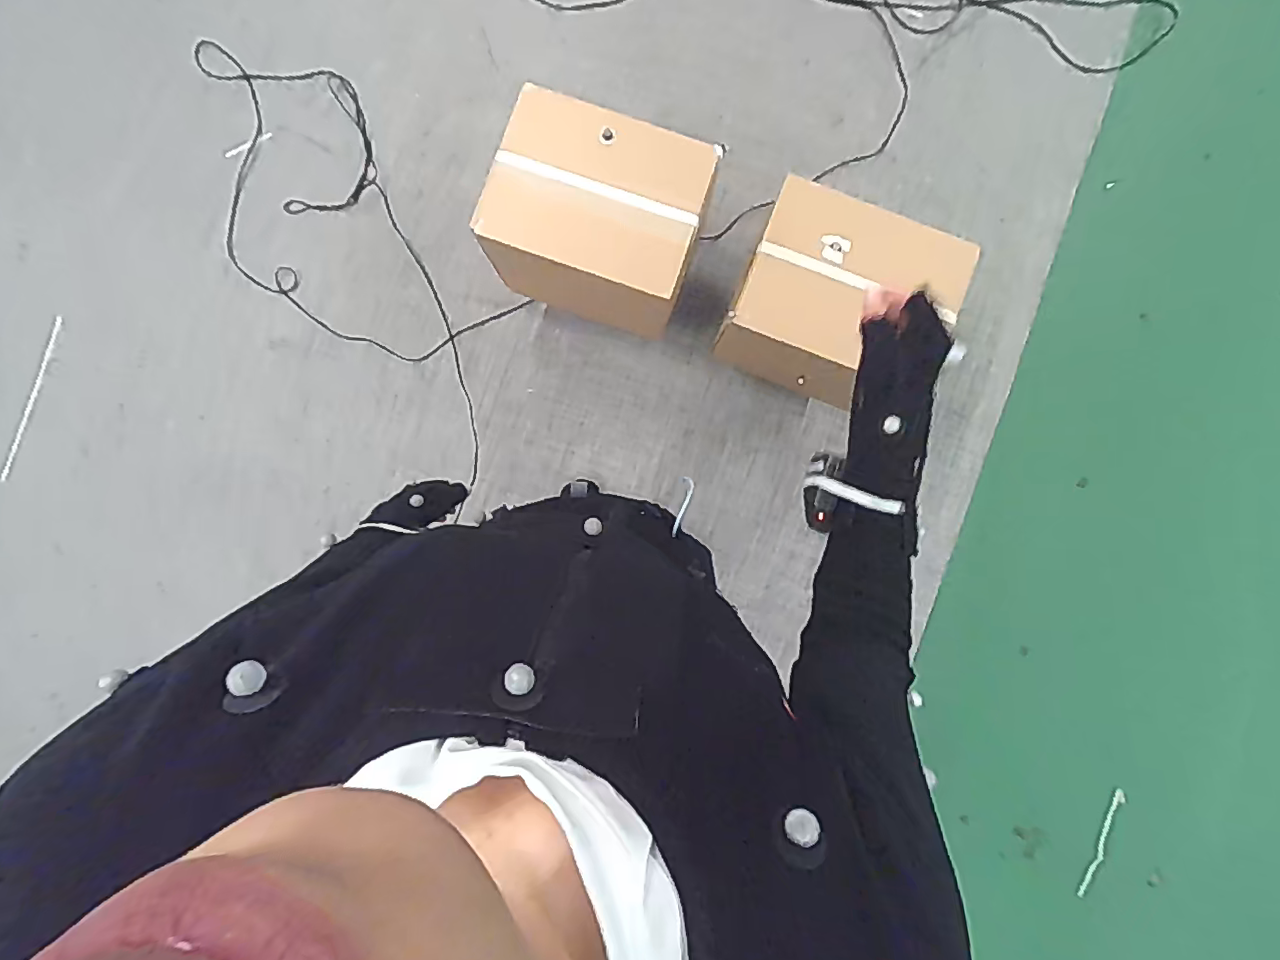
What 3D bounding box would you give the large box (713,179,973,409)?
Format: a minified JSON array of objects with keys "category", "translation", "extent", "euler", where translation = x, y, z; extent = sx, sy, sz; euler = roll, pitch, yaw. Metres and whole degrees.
[{"category":"large box","translation":[0.417,-0.380,1.204],"extent":[0.408,0.320,0.320],"euler":[21,89,0]}]
